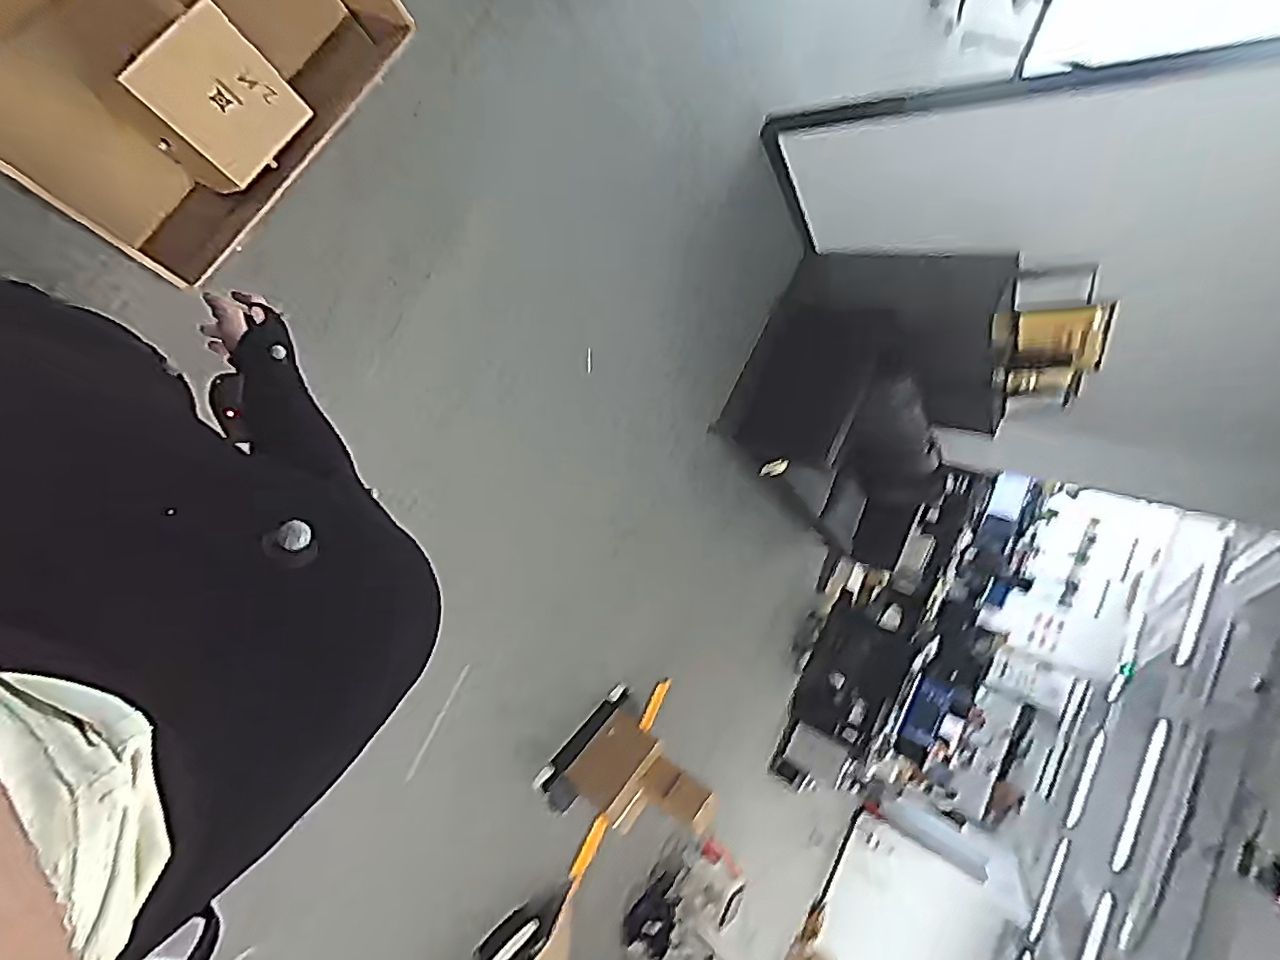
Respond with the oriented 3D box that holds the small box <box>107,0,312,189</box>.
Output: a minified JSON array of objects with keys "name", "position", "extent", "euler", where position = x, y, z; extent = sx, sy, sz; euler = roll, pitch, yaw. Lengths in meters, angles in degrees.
[{"name":"small box","position":[-0.654,-0.570,0.822],"extent":[0.179,0.176,0.168],"euler":[-58,142,-13]}]
